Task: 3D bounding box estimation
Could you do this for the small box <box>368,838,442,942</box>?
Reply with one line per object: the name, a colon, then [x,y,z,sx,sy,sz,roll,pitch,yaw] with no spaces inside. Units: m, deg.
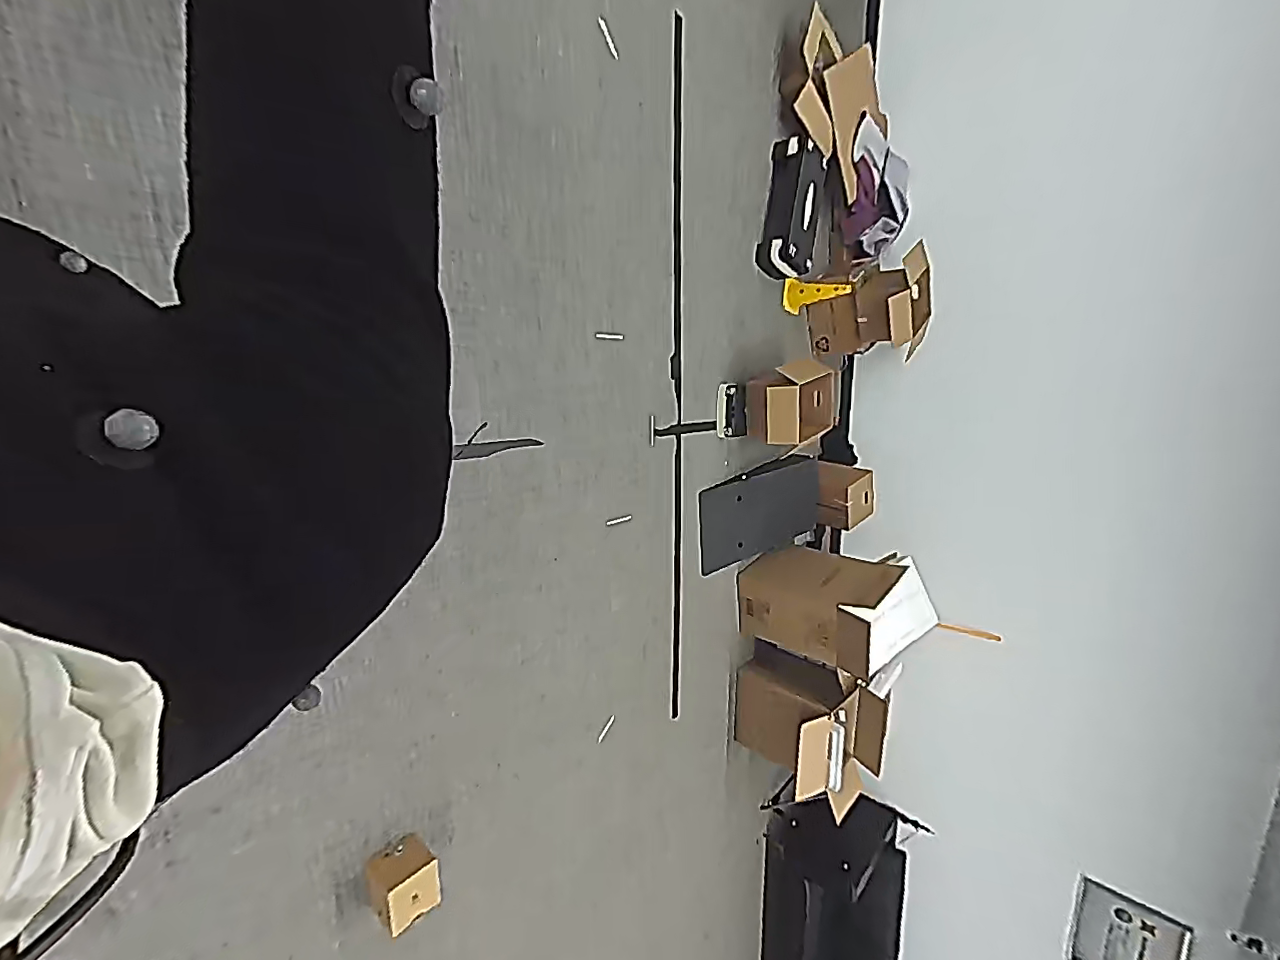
small box: [-0.771,1.334,1.773,0.168,0.176,0.179,-14,107,-48]
